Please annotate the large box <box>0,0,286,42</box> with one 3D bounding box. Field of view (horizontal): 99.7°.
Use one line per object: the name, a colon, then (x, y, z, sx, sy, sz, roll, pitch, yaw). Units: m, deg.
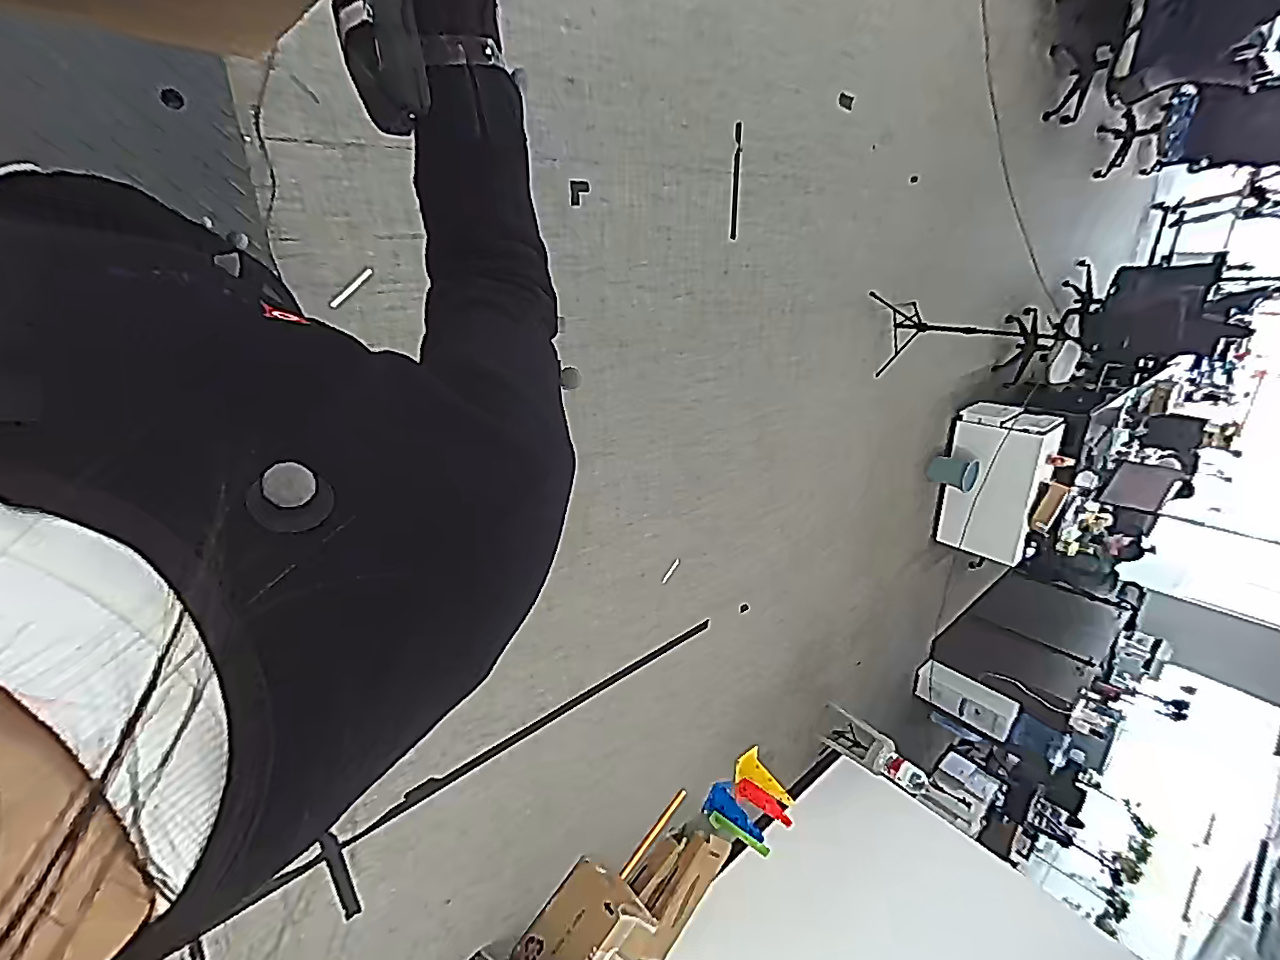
large box: (-0.399, -0.420, 0.204, 0.408, 0.320, 0.320, -19, 125, -37)
